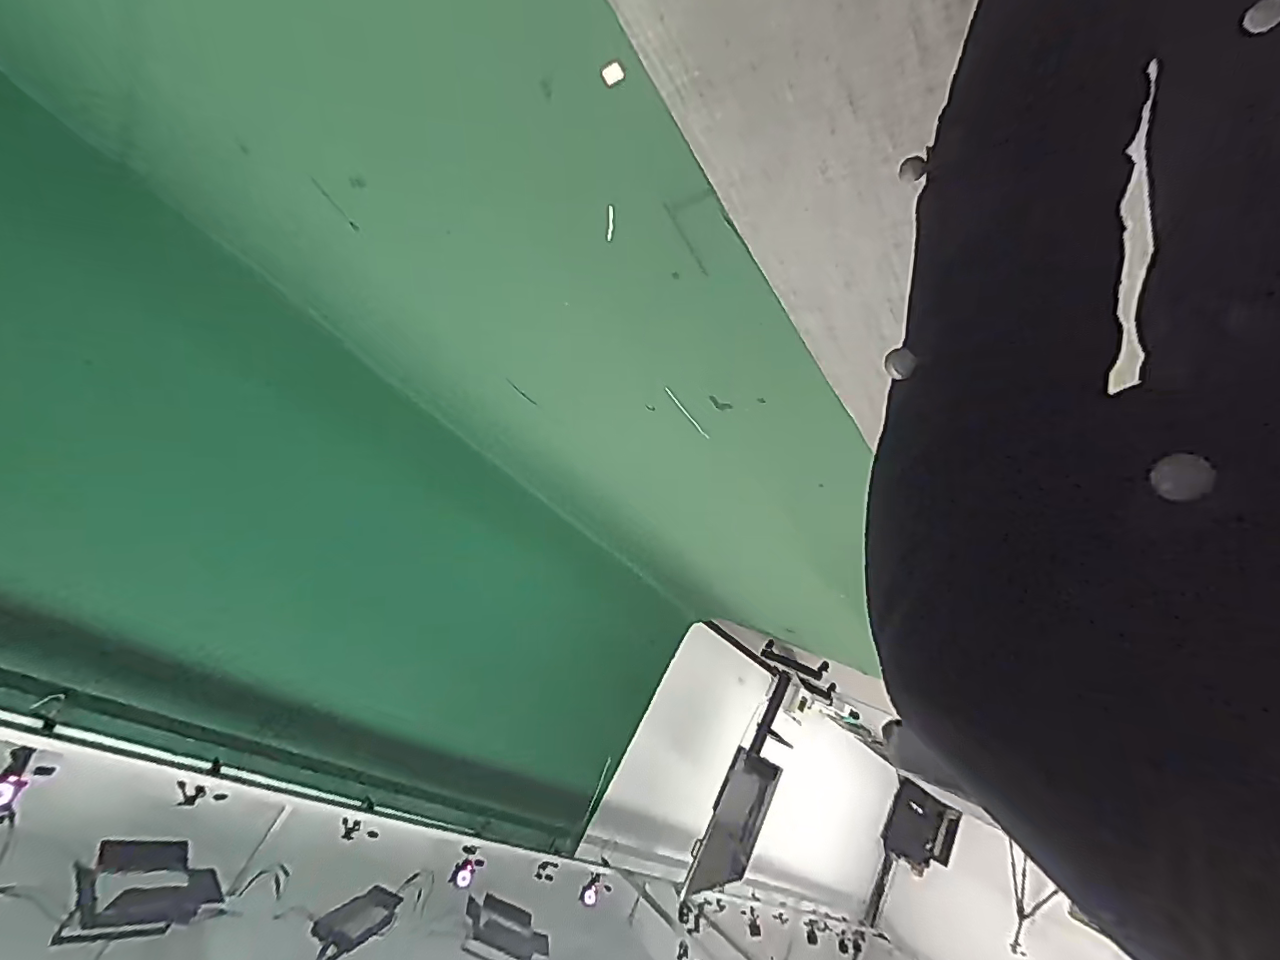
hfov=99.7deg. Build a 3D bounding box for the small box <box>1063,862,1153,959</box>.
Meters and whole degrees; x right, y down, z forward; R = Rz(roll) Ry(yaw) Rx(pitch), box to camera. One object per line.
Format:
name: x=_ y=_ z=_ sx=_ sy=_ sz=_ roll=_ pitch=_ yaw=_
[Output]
small box: x=1.427 y=1.308 z=1.642 sx=0.168 sy=0.176 sz=0.179 roll=42 pitch=161 yaw=-33
